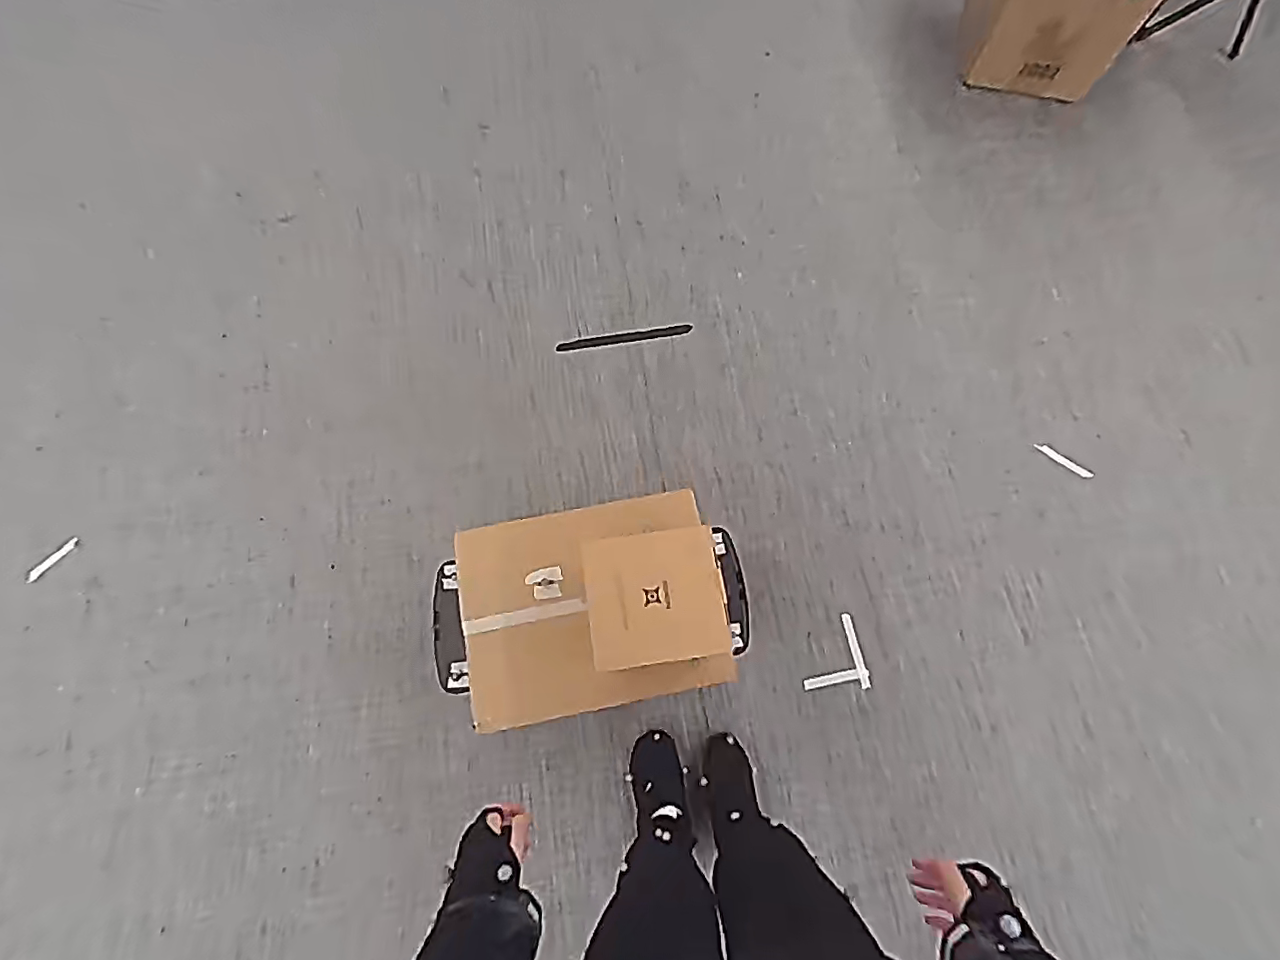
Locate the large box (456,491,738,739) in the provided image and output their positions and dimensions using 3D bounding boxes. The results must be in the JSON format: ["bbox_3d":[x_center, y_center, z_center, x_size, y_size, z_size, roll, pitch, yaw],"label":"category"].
[{"bbox_3d":[-0.074,0.240,0.989,0.408,0.320,0.320,-11,72,-3],"label":"large box"}]

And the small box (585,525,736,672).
[{"bbox_3d":[0.022,0.167,0.756,0.179,0.176,0.168,-7,73,-3],"label":"small box"}]
